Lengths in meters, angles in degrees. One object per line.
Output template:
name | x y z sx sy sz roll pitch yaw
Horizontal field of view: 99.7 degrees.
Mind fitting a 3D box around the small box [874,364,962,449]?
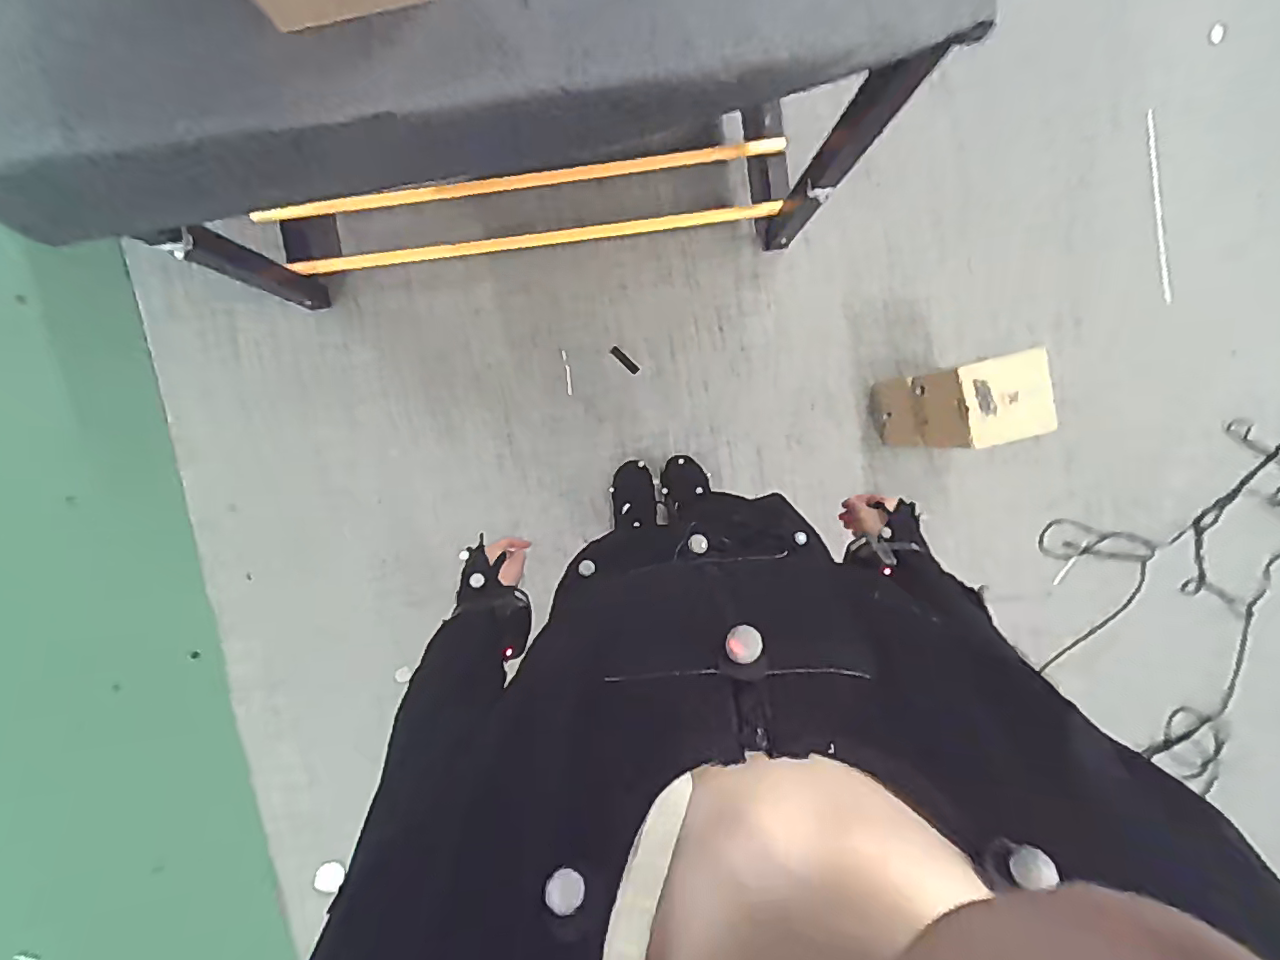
small box | 0.691 -0.175 1.284 0.179 0.176 0.168 -14 94 0

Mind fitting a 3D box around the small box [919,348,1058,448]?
small box | 0.707 -0.163 1.121 0.179 0.176 0.168 -13 95 -1

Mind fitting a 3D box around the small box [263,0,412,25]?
small box | -0.319 -0.581 0.502 0.179 0.176 0.168 -12 93 0
